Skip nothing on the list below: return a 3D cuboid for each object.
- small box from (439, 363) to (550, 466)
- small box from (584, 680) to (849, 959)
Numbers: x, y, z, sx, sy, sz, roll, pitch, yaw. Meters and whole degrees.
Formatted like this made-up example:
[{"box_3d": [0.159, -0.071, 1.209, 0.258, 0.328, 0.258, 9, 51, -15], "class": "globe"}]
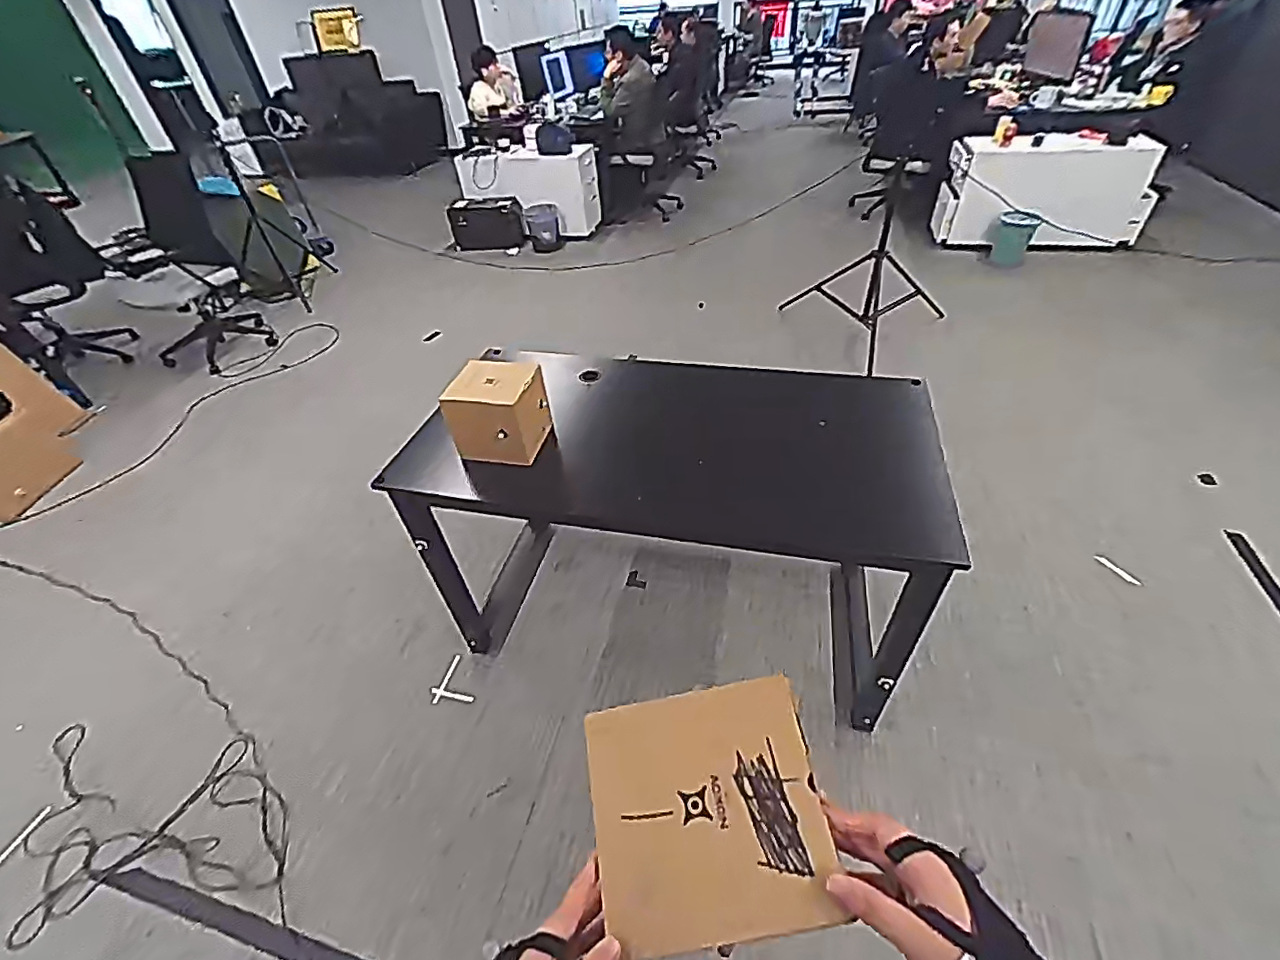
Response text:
[{"box_3d": [-0.318, -0.147, 1.231, 0.179, 0.176, 0.168, 4, 42, 11], "class": "small box"}, {"box_3d": [0.058, 0.292, 0.481, 0.179, 0.176, 0.168, -12, 57, 1], "class": "small box"}]
